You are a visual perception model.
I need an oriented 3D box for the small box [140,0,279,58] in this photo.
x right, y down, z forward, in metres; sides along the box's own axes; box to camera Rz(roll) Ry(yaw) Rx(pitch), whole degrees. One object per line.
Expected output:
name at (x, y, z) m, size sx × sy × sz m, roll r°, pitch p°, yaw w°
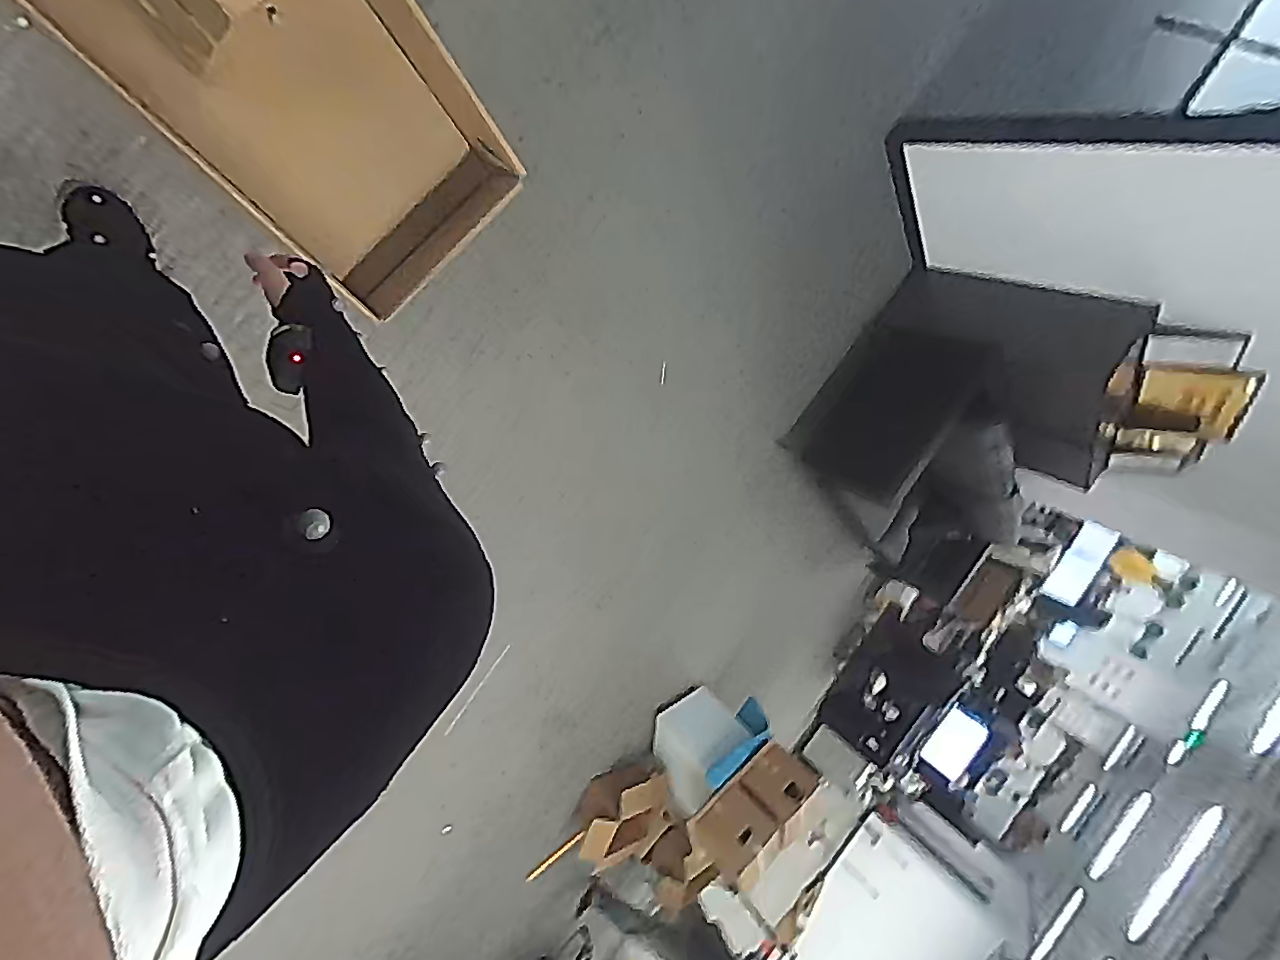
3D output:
small box at (-0.487, -0.602, 0.590) m, size 0.179 × 0.176 × 0.168 m, roll -47°, pitch 140°, yaw -8°

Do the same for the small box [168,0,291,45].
small box at (-0.382, -0.532, 0.483) m, size 0.179 × 0.176 × 0.168 m, roll -47°, pitch 138°, yaw -9°
